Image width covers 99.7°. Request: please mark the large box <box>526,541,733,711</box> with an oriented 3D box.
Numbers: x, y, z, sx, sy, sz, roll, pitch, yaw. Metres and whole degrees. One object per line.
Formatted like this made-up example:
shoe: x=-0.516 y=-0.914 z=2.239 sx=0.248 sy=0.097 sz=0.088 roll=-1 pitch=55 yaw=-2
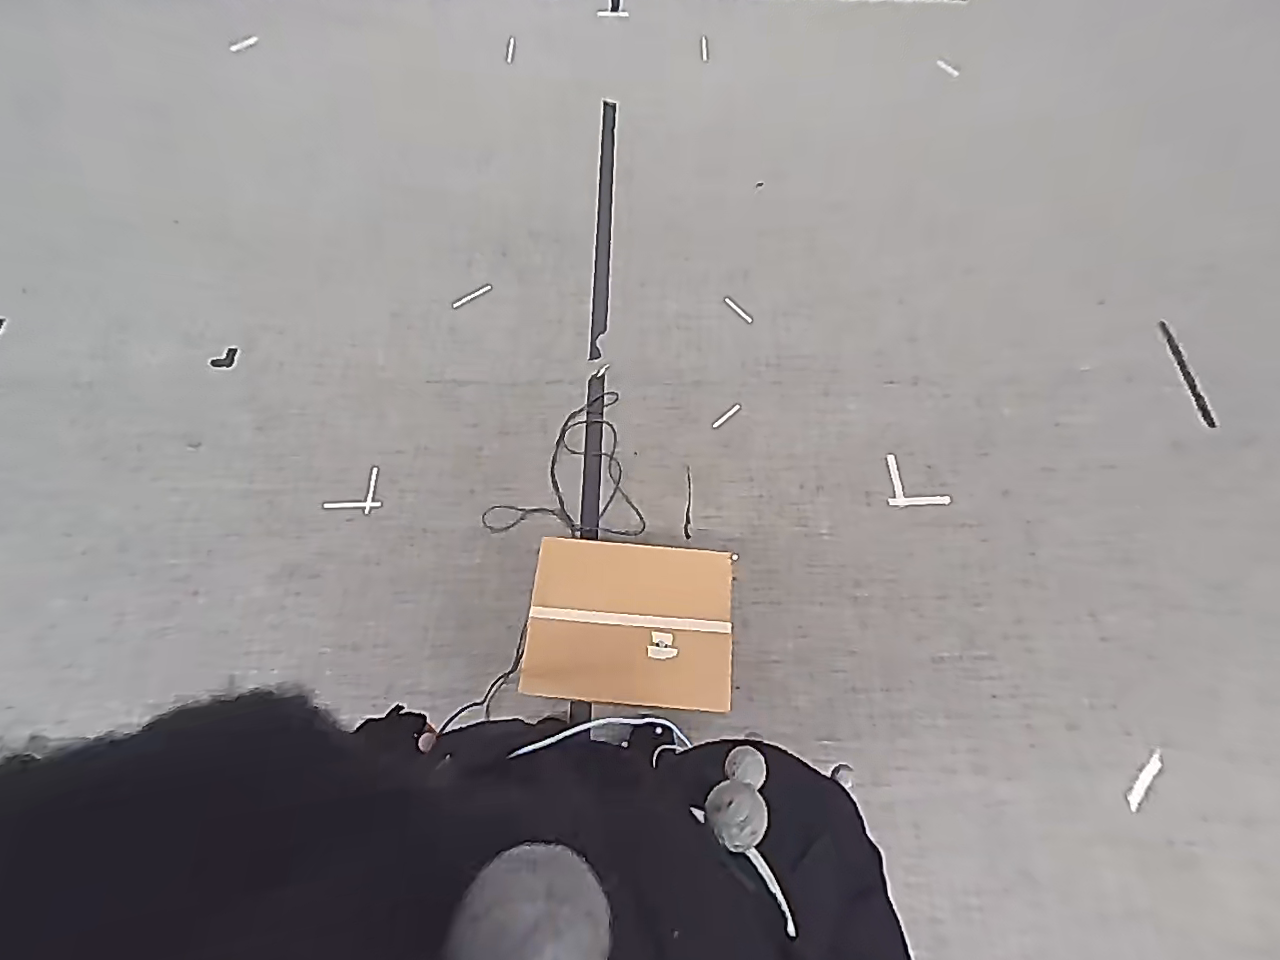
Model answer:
large box: x=-0.019 y=0.344 z=1.228 sx=0.408 sy=0.320 sz=0.320 roll=6 pitch=68 yaw=0
